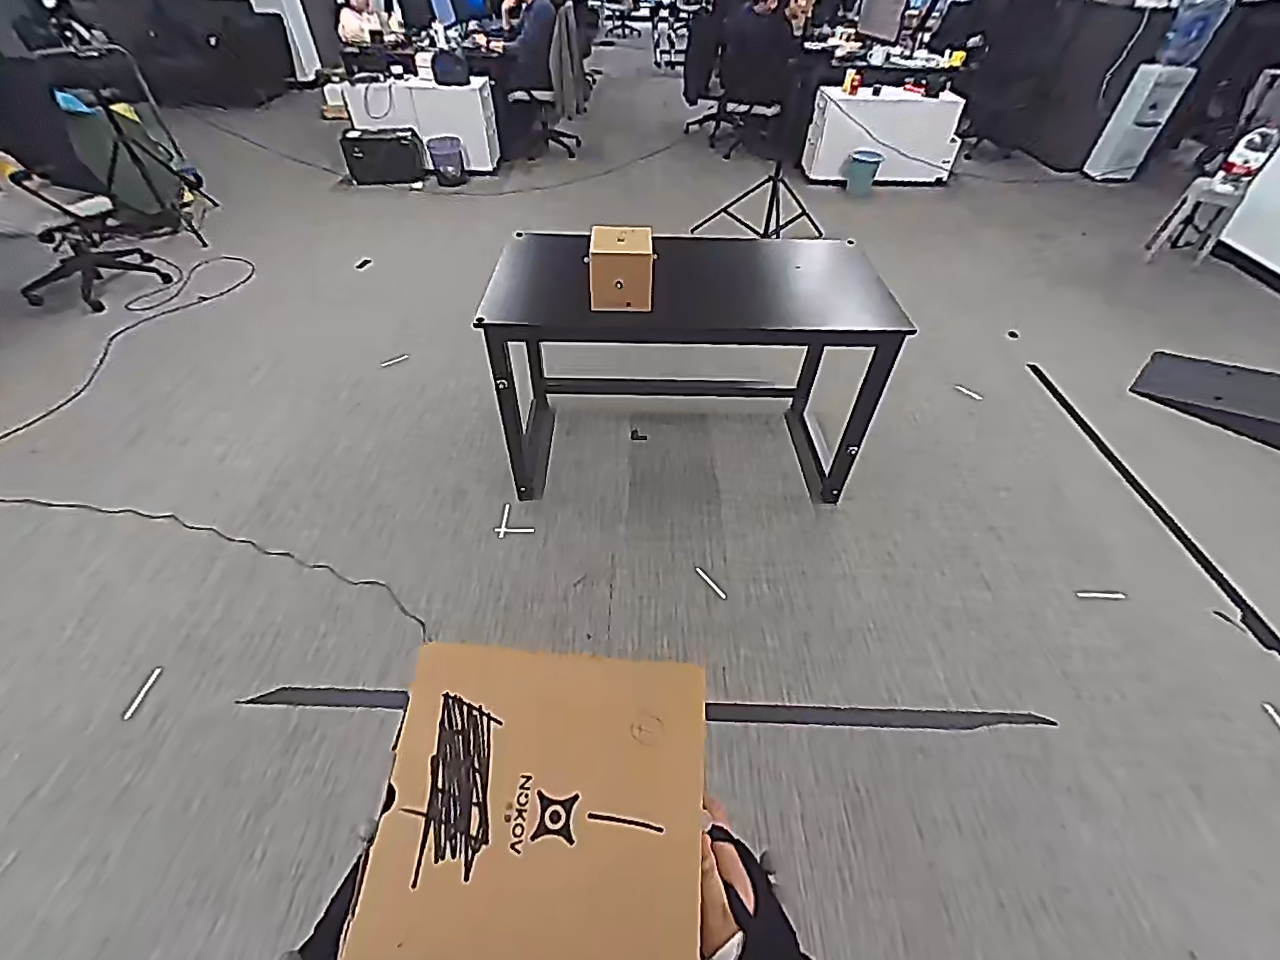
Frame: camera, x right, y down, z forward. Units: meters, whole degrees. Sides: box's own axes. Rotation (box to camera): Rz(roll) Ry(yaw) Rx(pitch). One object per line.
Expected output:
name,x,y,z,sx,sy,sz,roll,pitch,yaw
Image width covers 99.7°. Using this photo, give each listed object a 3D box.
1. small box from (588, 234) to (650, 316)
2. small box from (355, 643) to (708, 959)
small box,-0.055,-0.577,1.529,0.168,0.176,0.179,1,45,-2
small box,-0.050,0.217,0.371,0.179,0.176,0.168,4,63,2
